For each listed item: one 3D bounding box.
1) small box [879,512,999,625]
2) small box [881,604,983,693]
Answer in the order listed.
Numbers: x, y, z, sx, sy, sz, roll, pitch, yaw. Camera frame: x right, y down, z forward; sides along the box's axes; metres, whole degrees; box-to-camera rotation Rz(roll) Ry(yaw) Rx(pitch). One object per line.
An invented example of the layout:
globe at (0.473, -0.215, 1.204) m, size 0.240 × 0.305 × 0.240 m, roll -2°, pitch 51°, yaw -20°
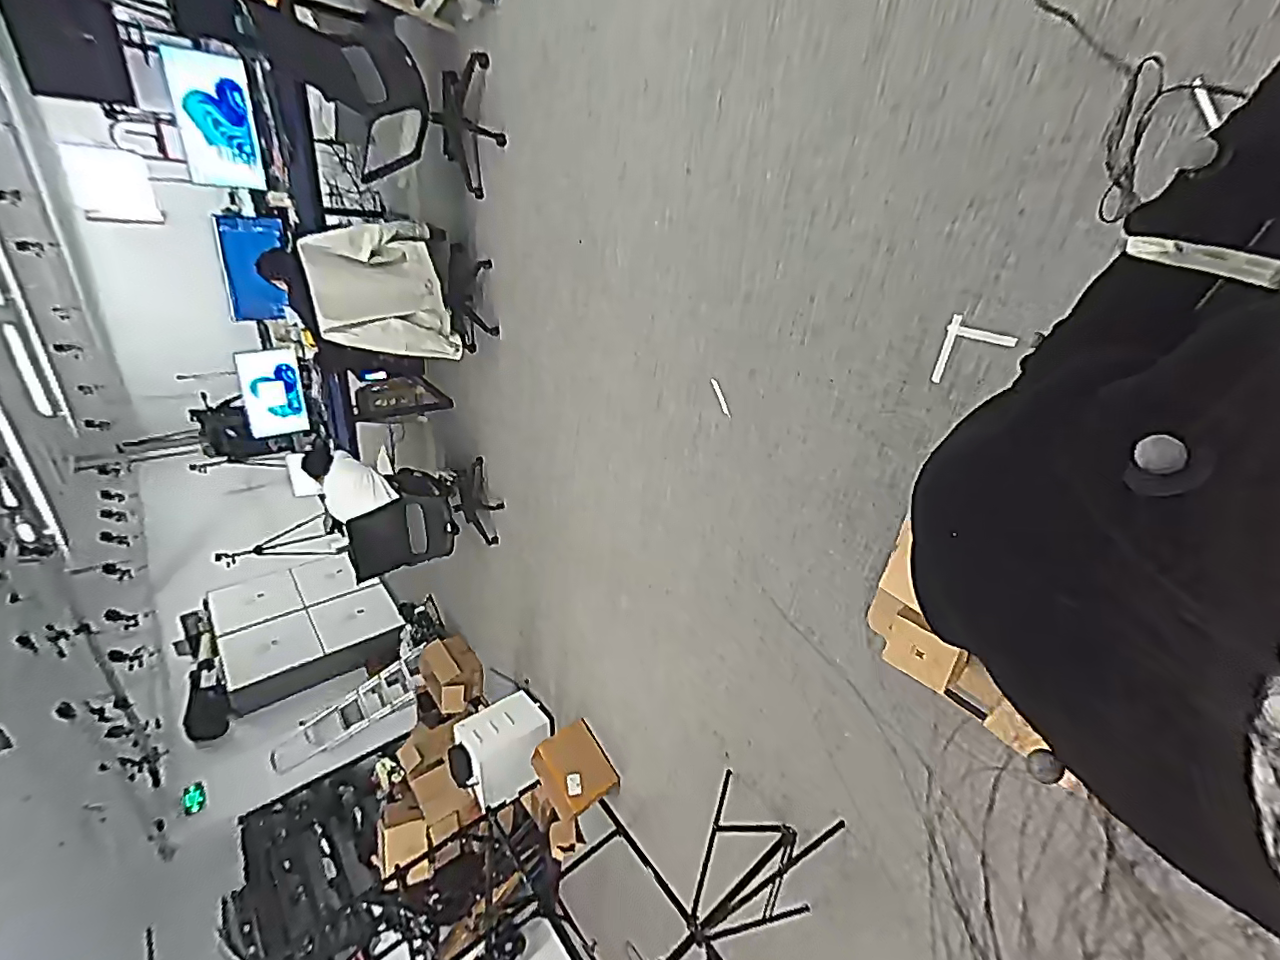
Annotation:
small box at (0.707, 0.203, 1.277) m, size 0.168 × 0.176 × 0.179 m, roll 37°, pitch 129°, yaw 37°
small box at (0.813, 0.446, 1.508) m, size 0.179 × 0.176 × 0.168 m, roll 30°, pitch 126°, yaw 43°
